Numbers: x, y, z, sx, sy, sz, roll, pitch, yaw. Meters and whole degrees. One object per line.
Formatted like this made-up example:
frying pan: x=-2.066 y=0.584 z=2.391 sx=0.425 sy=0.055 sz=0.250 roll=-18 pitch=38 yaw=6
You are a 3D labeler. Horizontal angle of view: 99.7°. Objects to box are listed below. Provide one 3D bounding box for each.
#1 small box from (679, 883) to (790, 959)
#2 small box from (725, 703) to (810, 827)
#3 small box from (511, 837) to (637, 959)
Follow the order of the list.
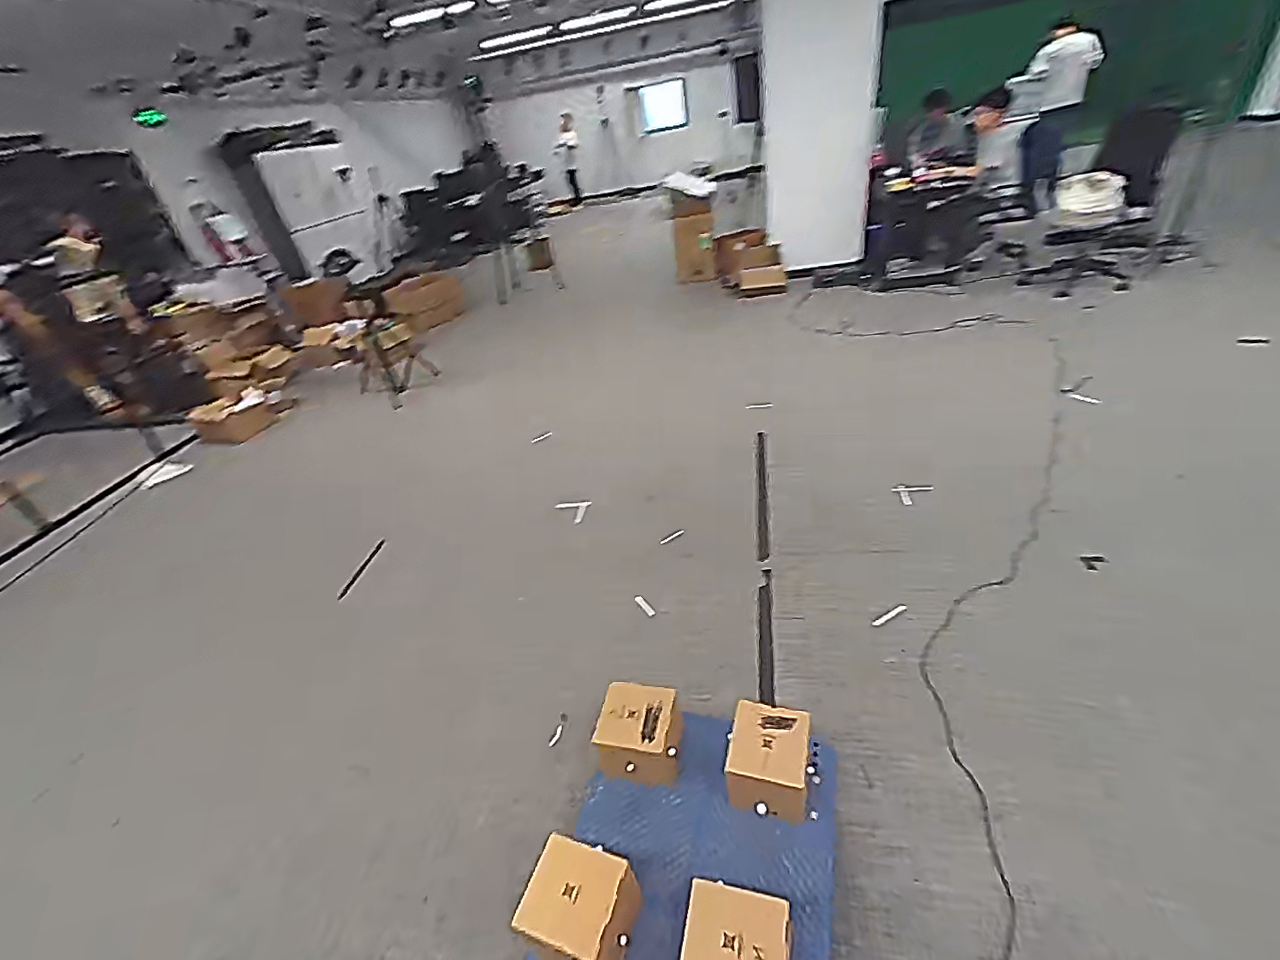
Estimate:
small box: x=0.172 y=0.865 z=0.964 sx=0.179 sy=0.176 sz=0.168 roll=1 pitch=35 yaw=18
small box: x=0.297 y=0.652 z=1.243 sx=0.168 sy=0.176 sz=0.179 roll=3 pitch=37 yaw=21
small box: x=-0.121 y=0.854 z=1.067 sx=0.179 sy=0.176 sz=0.168 roll=6 pitch=36 yaw=21
